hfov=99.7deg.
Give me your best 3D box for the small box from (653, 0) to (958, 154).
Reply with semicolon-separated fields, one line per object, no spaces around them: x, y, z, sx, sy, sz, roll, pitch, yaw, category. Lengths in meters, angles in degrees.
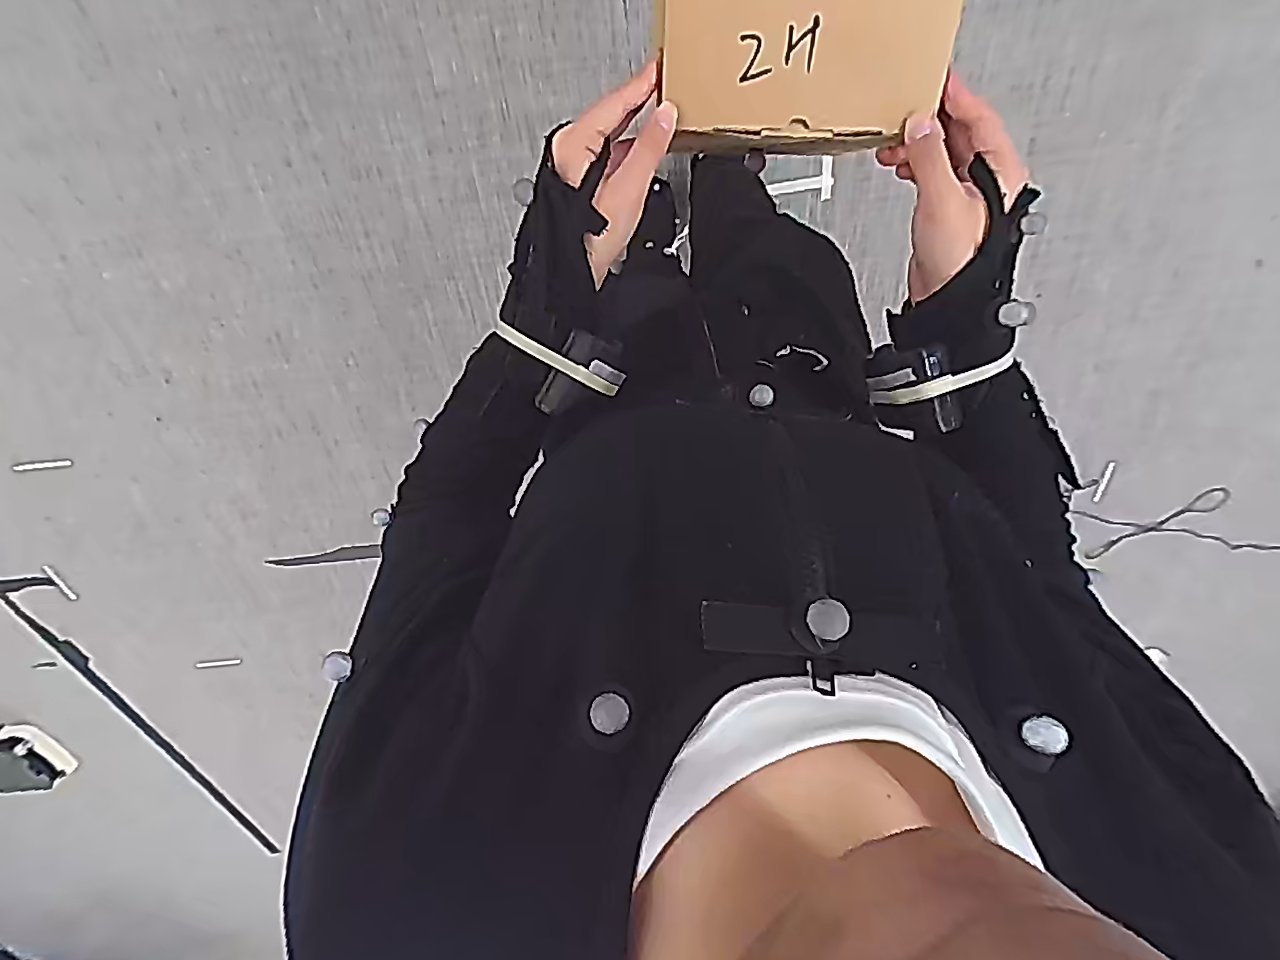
0.095;-0.329;0.361;0.168;0.176;0.179;1;118;-1;small box
